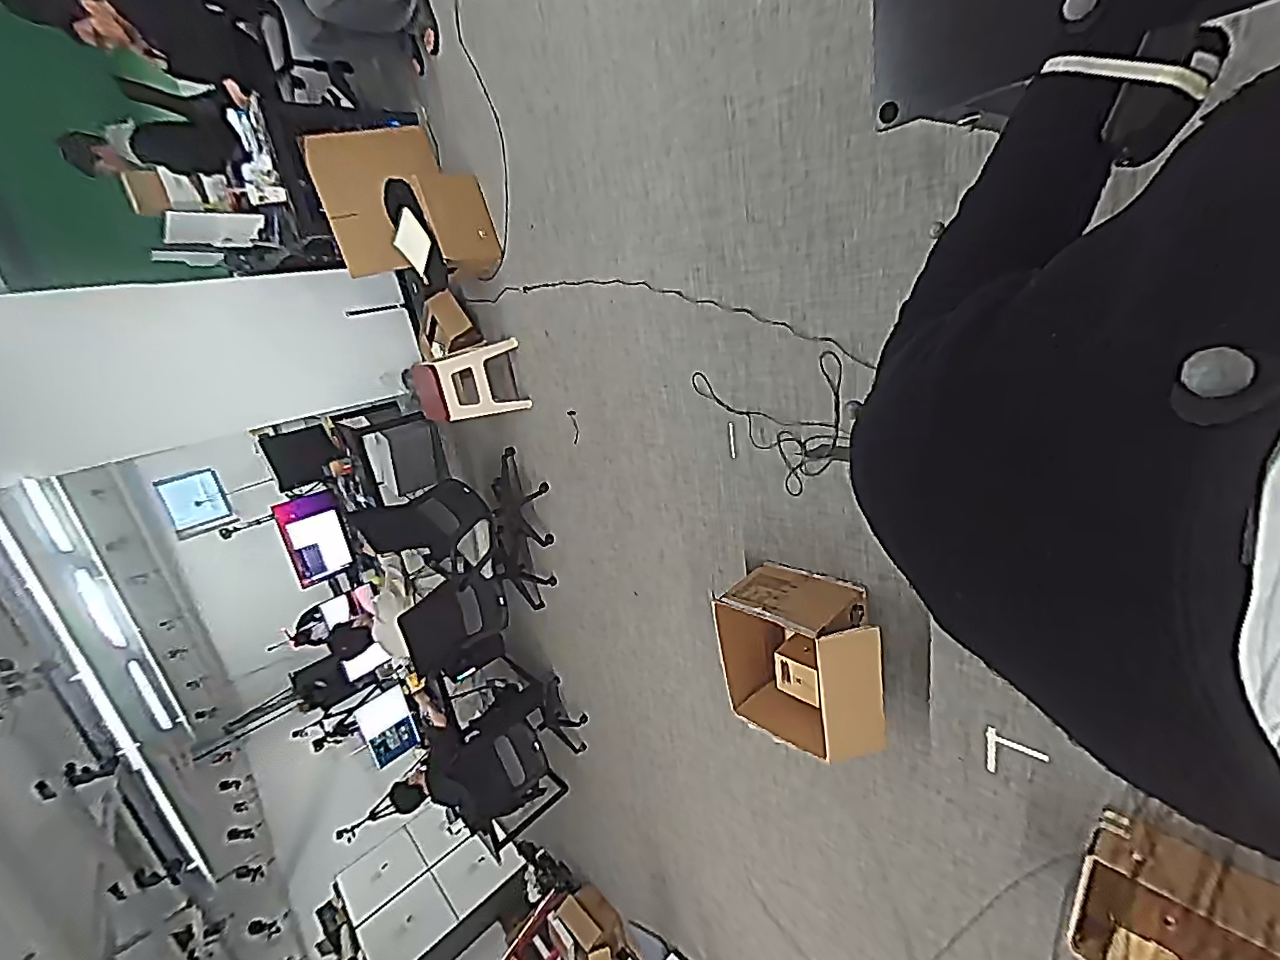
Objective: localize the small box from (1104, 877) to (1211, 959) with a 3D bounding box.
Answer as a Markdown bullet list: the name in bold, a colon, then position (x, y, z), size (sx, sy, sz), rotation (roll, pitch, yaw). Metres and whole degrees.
- **small box**: position (1.309, 1.170, 1.369), size (0.168, 0.176, 0.179), rotation (16, 120, 44)
